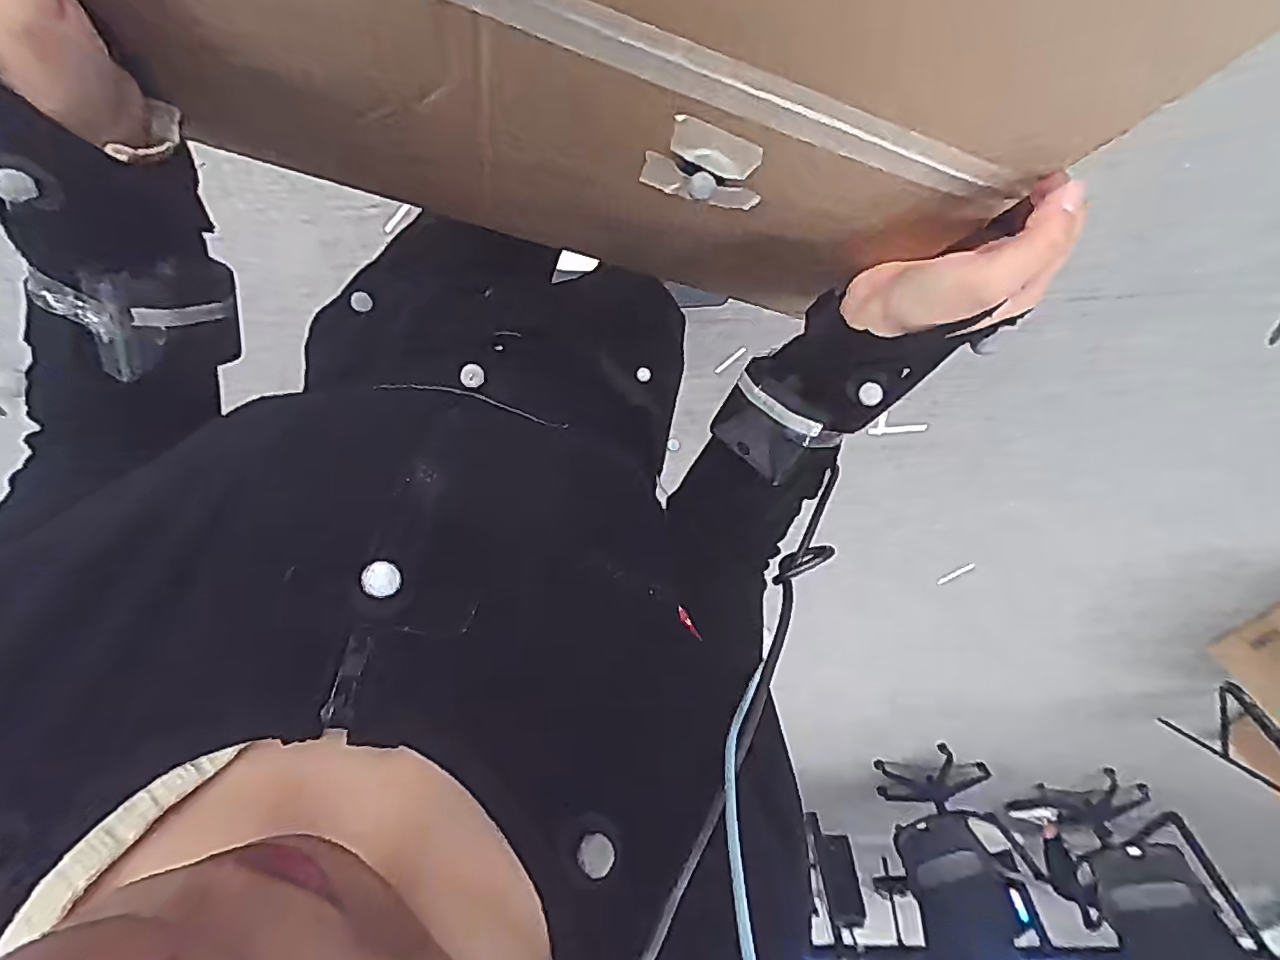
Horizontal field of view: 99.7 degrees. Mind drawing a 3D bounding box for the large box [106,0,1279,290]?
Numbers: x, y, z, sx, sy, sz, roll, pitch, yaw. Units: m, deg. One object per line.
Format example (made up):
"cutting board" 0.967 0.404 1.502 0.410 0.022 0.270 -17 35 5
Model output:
"large box" 0.017 -0.323 0.189 0.408 0.320 0.320 10 172 -14
